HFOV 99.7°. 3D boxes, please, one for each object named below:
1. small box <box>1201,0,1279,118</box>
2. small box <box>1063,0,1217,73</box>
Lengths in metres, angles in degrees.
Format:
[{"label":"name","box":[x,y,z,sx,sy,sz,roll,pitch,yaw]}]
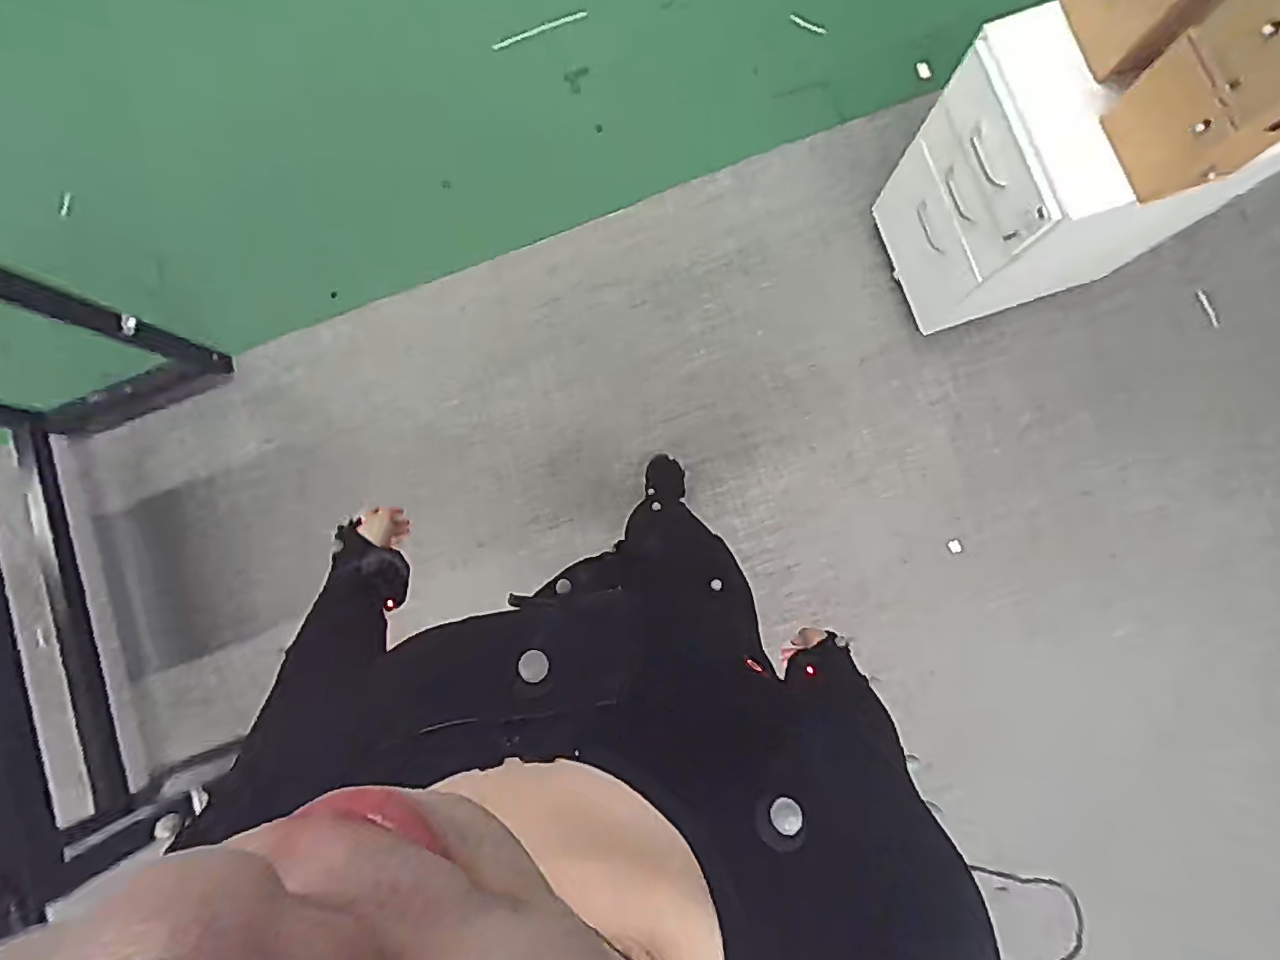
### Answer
[{"label":"small box","box":[0.881,-0.606,0.684,0.179,0.176,0.168,-17,85,1]},{"label":"small box","box":[0.834,-0.817,0.869,0.168,0.176,0.179,-19,86,2]}]
